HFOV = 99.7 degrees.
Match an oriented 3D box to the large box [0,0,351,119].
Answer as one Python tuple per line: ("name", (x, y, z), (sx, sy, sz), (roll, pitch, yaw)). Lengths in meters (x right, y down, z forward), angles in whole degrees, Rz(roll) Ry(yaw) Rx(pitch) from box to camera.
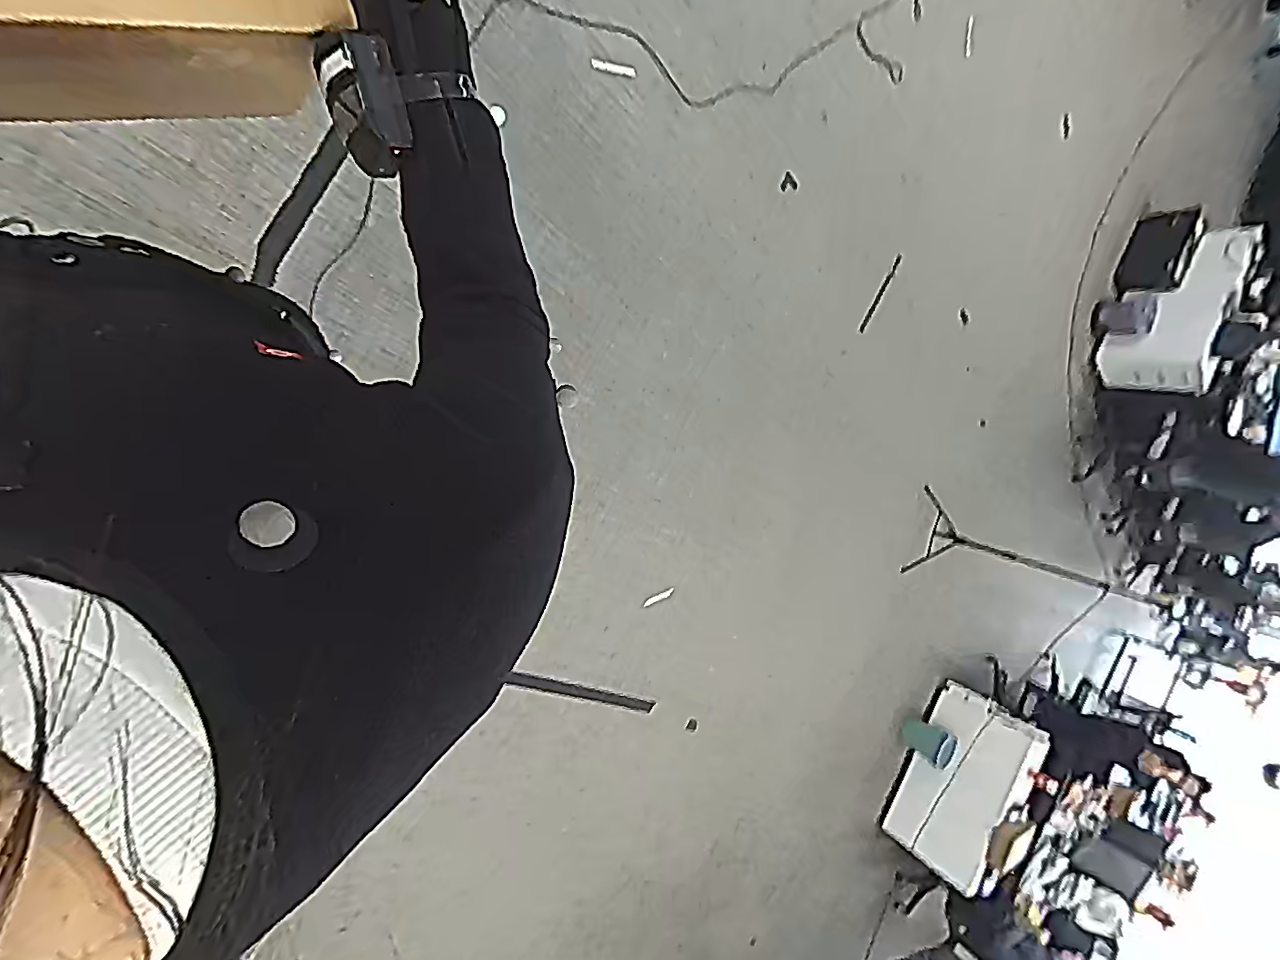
("large box", (-0.435, -0.381, 0.265), (0.408, 0.320, 0.320), (-24, 125, -30))
